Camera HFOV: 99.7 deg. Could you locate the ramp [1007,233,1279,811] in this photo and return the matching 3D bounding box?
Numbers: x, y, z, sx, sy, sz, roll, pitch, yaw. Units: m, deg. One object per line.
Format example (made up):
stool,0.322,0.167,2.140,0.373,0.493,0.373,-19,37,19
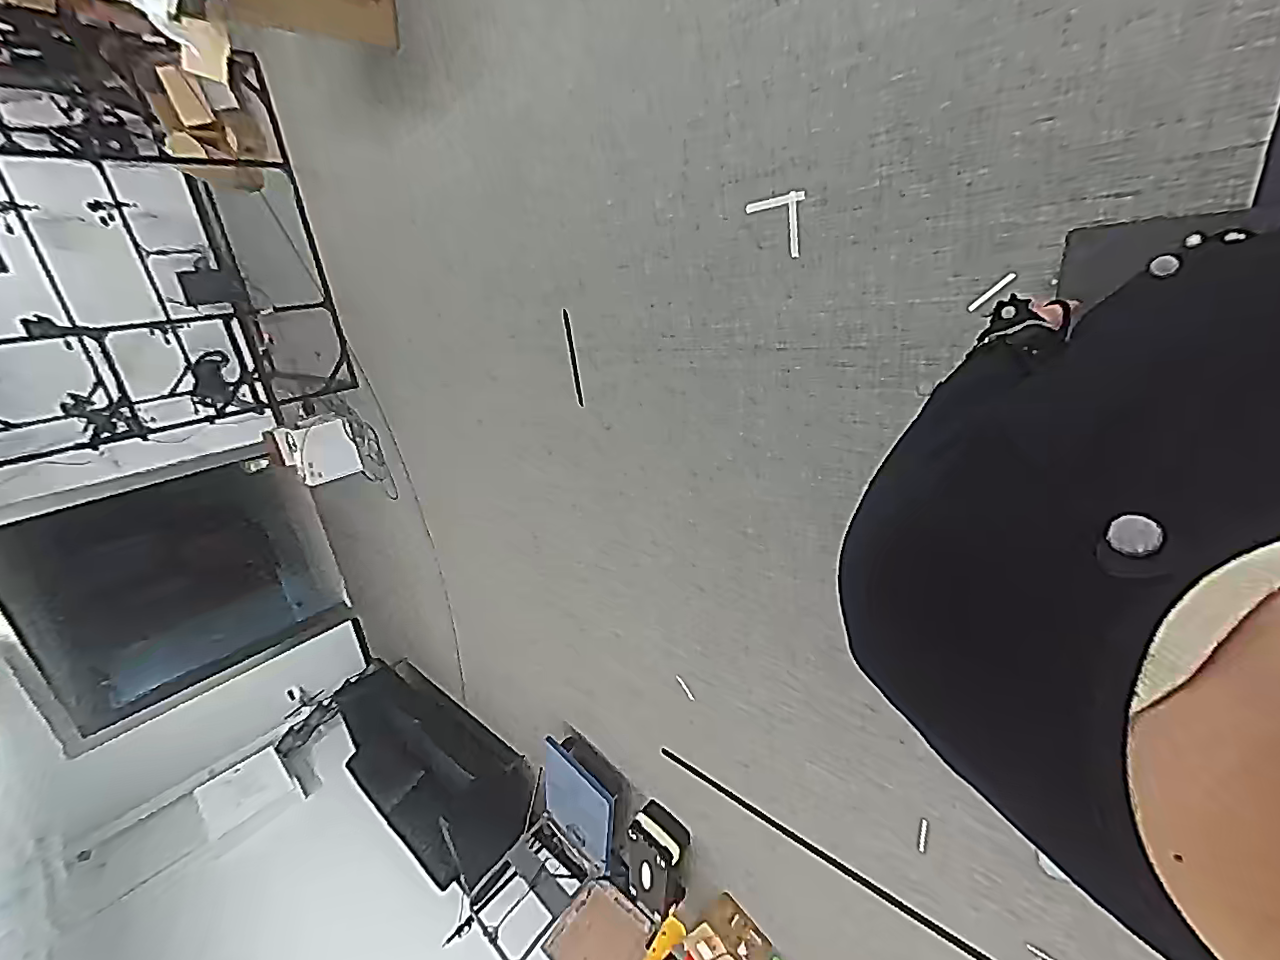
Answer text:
ramp,1.037,0.080,0.996,0.509,0.206,0.991,11,115,44
